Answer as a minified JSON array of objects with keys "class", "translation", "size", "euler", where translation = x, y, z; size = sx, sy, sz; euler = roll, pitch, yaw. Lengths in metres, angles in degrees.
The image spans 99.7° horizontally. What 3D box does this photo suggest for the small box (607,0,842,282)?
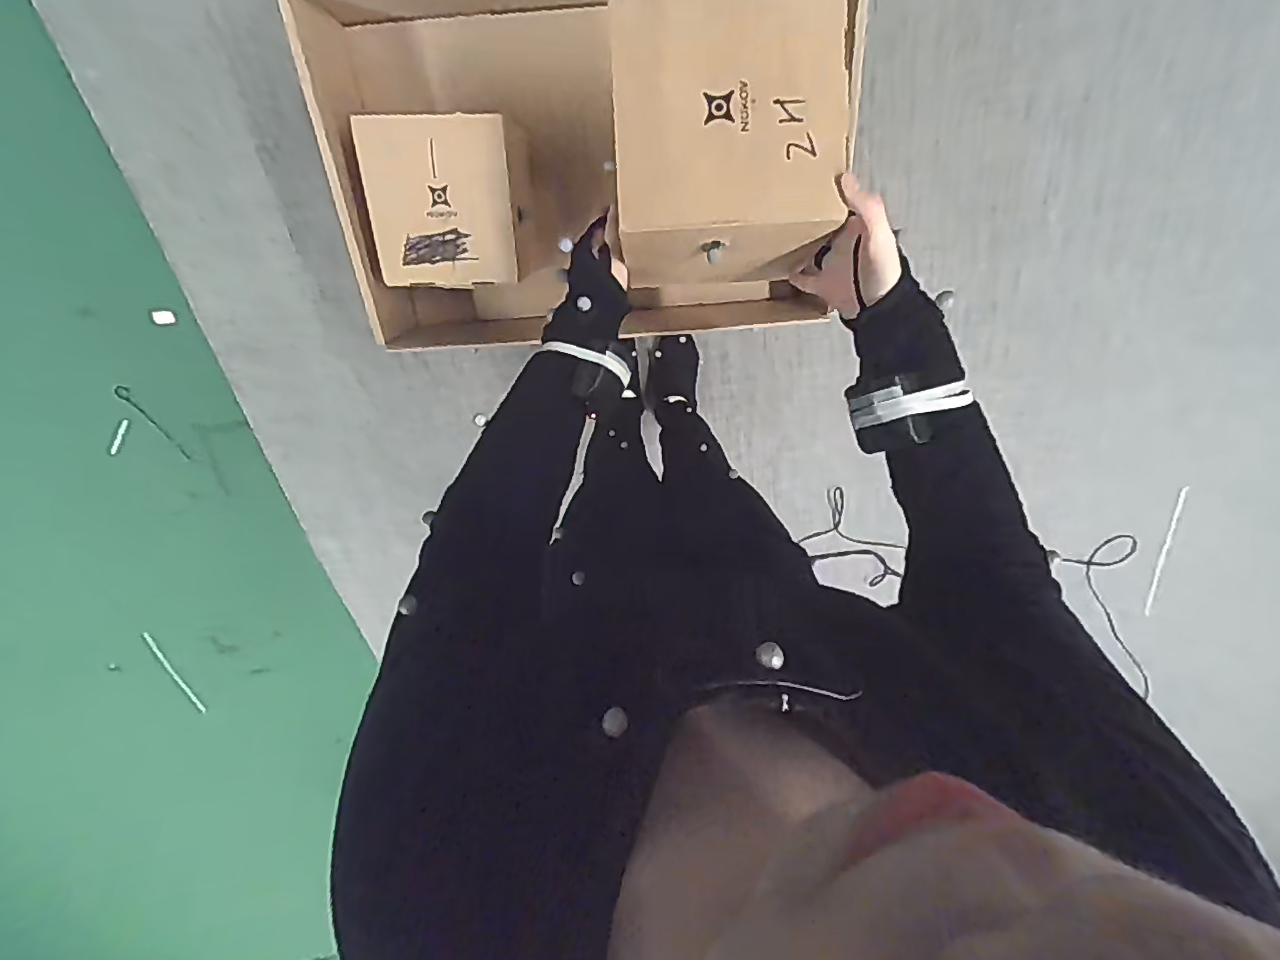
[{"class":"small box","translation":[0.067,-0.284,0.487],"size":[0.179,0.176,0.168],"euler":[-2,96,1]}]
